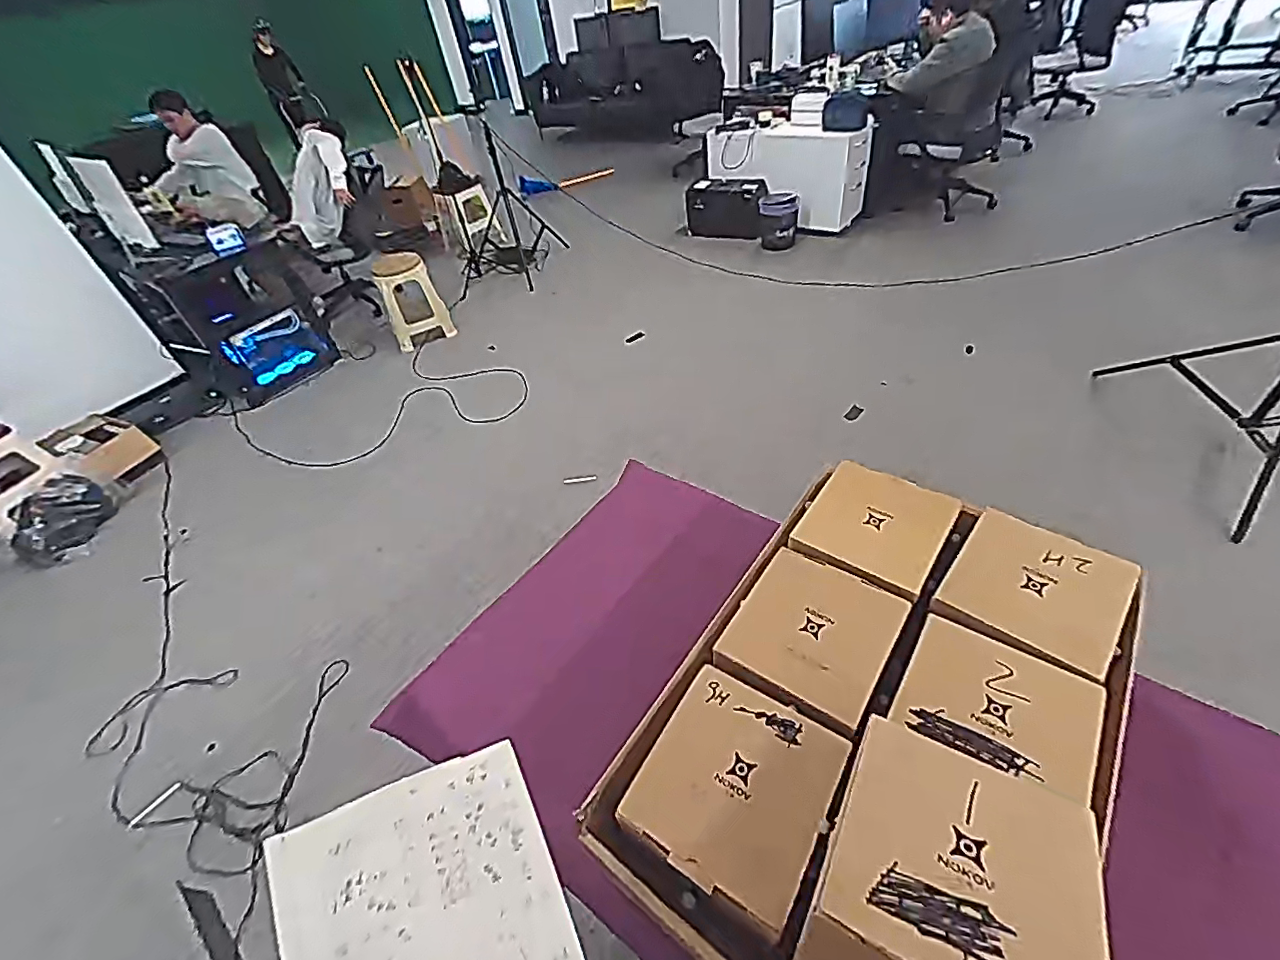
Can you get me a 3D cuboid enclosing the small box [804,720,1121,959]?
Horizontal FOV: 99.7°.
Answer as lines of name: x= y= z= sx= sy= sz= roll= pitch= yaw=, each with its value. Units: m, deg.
small box: x=0.239 y=0.341 z=0.425 sx=0.168 sy=0.176 sz=0.179 roll=18 pitch=38 yaw=27
